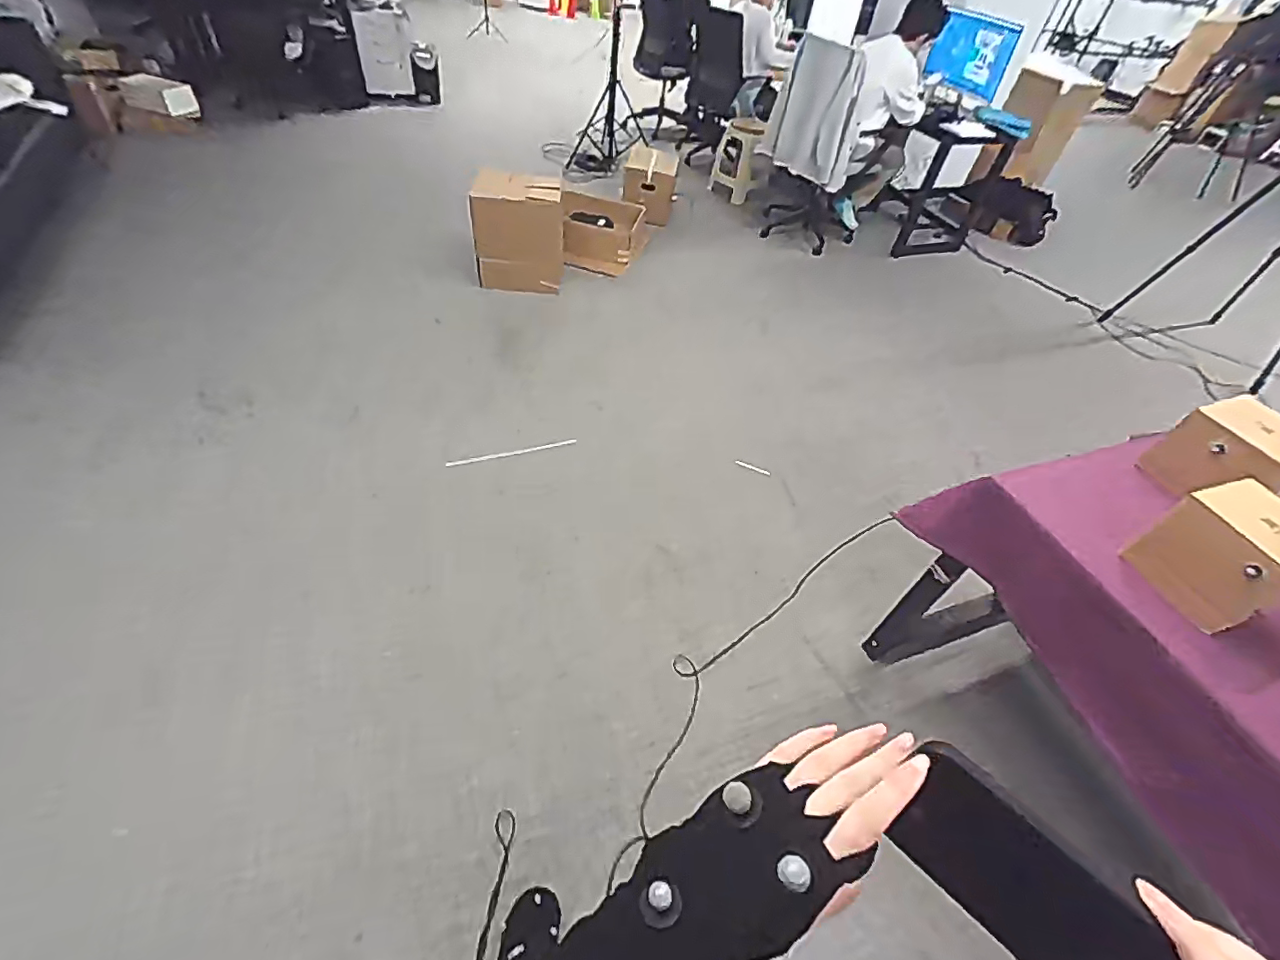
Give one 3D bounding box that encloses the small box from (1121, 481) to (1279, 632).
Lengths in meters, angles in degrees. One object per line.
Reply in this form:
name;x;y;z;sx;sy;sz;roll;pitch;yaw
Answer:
small box;0.997;0.129;0.922;0.168;0.176;0.179;-10;50;-17
